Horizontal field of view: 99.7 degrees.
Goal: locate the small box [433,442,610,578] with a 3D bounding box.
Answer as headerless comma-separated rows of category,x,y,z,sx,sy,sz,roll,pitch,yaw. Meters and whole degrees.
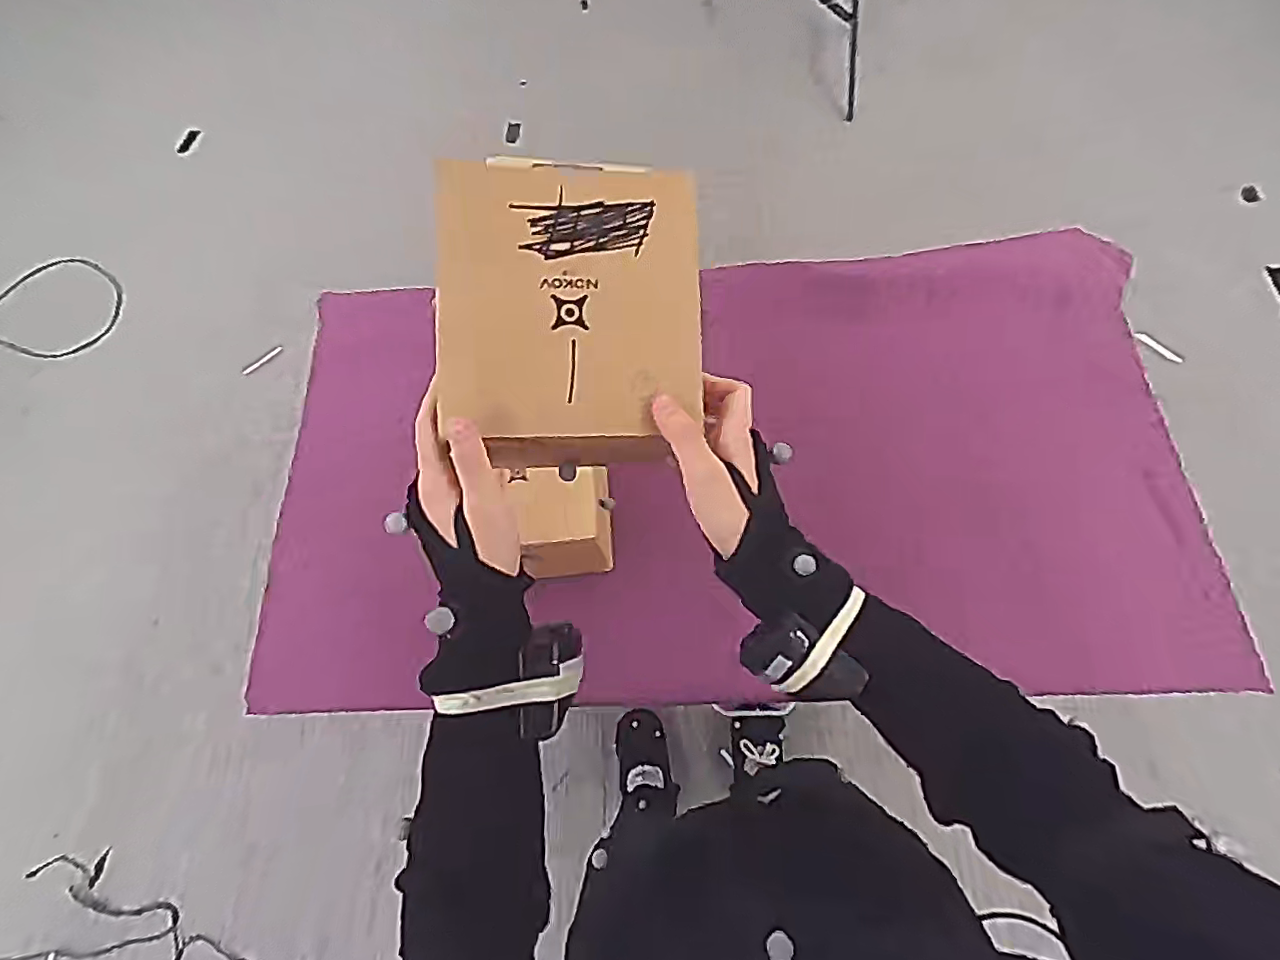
small box,-0.132,0.021,0.663,0.179,0.176,0.168,-6,70,2

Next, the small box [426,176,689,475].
small box,-0.061,-0.100,0.424,0.168,0.176,0.179,-1,85,-7
